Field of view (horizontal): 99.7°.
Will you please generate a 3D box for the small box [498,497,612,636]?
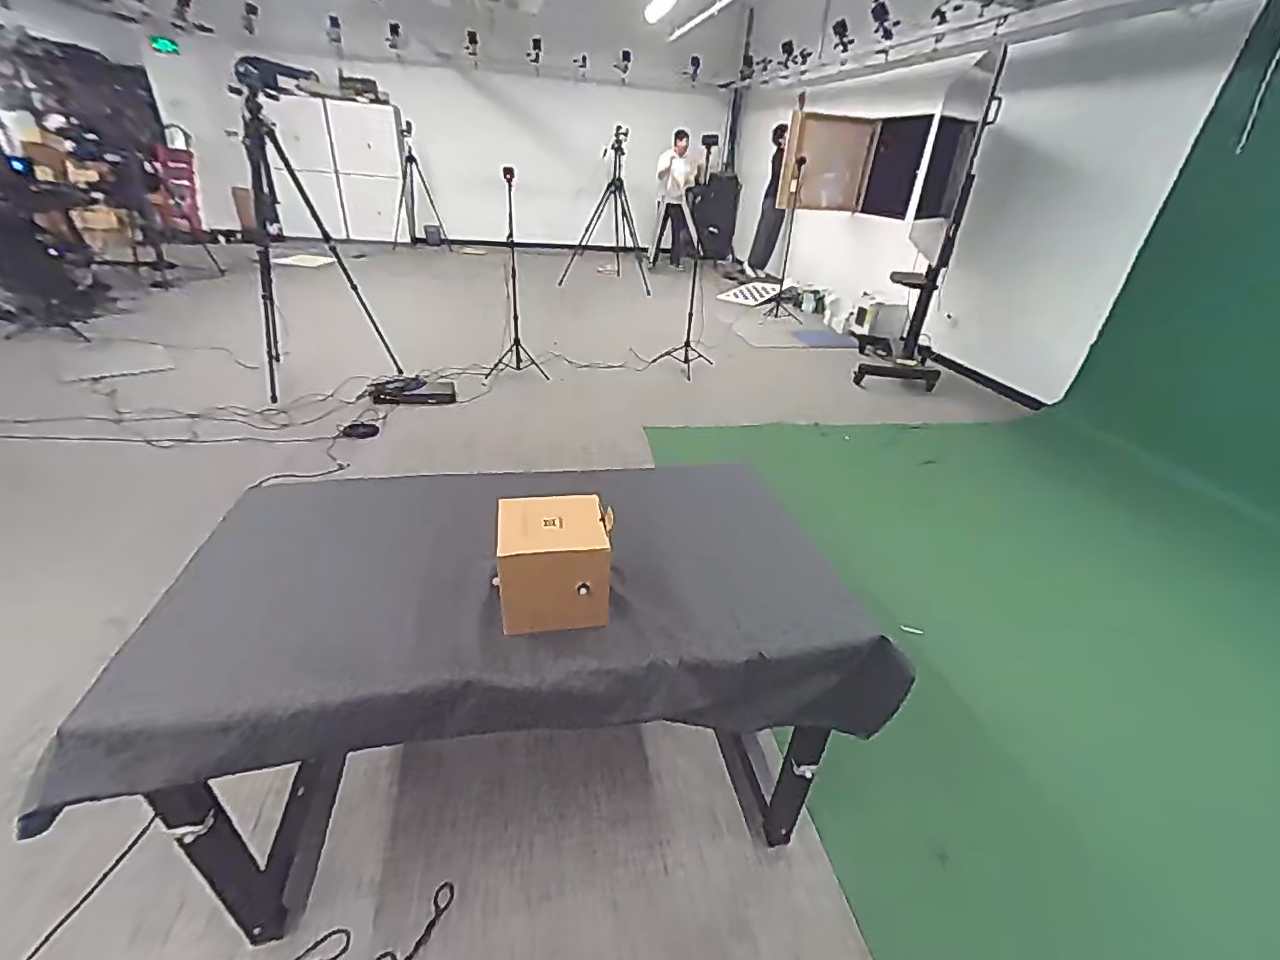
[{"bbox_3d":[-0.148,0.146,0.933,0.179,0.176,0.168,-4,29,-11],"label":"small box"}]
